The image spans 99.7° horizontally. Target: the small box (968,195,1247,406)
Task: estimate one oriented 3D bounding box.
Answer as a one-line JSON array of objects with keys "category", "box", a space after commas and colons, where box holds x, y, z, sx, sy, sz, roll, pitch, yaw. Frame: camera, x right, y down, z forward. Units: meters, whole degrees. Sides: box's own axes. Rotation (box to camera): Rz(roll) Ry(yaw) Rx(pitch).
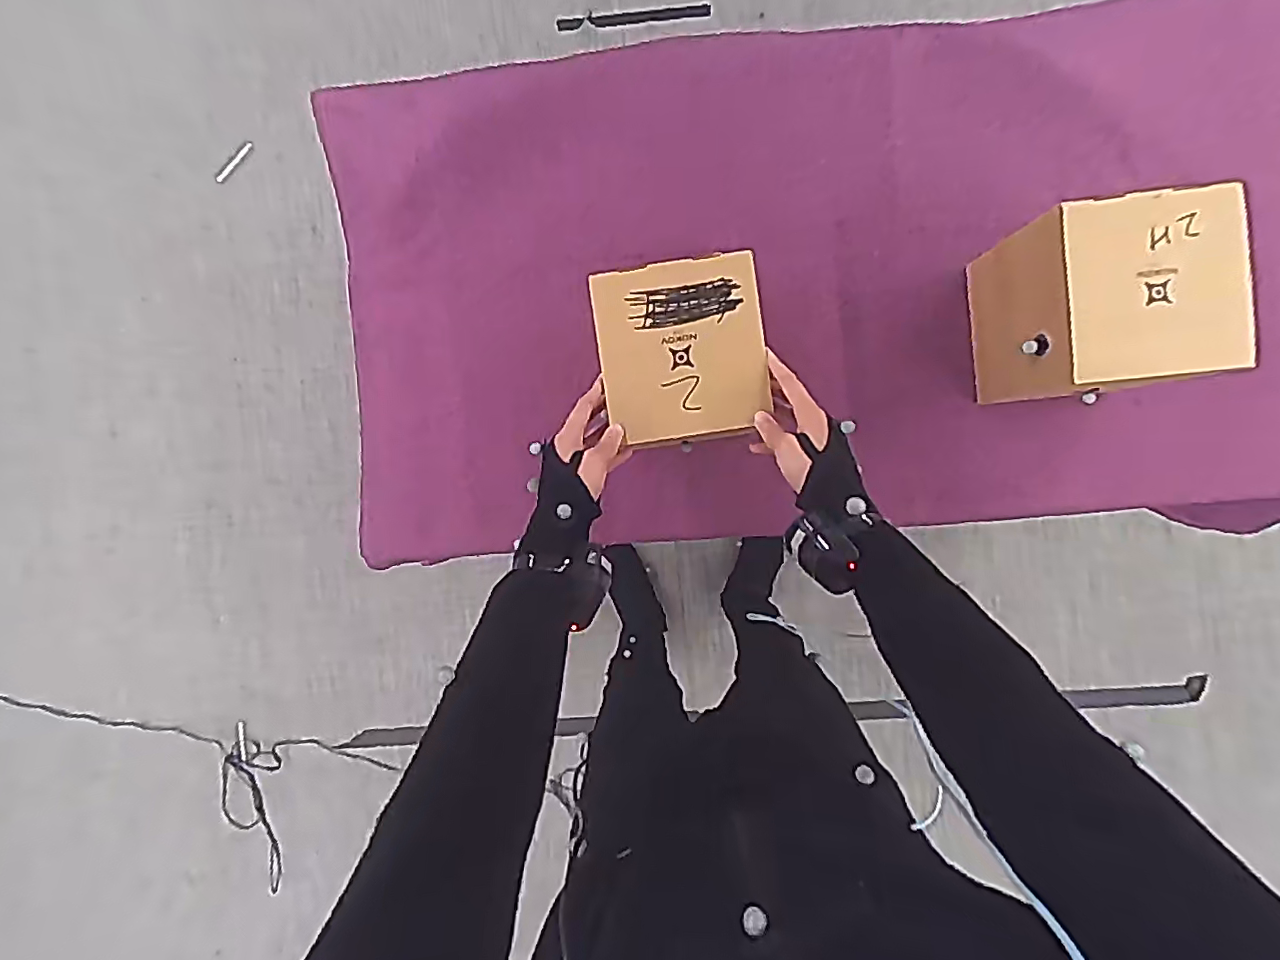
[{"category": "small box", "box": [0.490, -0.178, 0.593, 0.168, 0.176, 0.179, -5, 91, 3]}]
